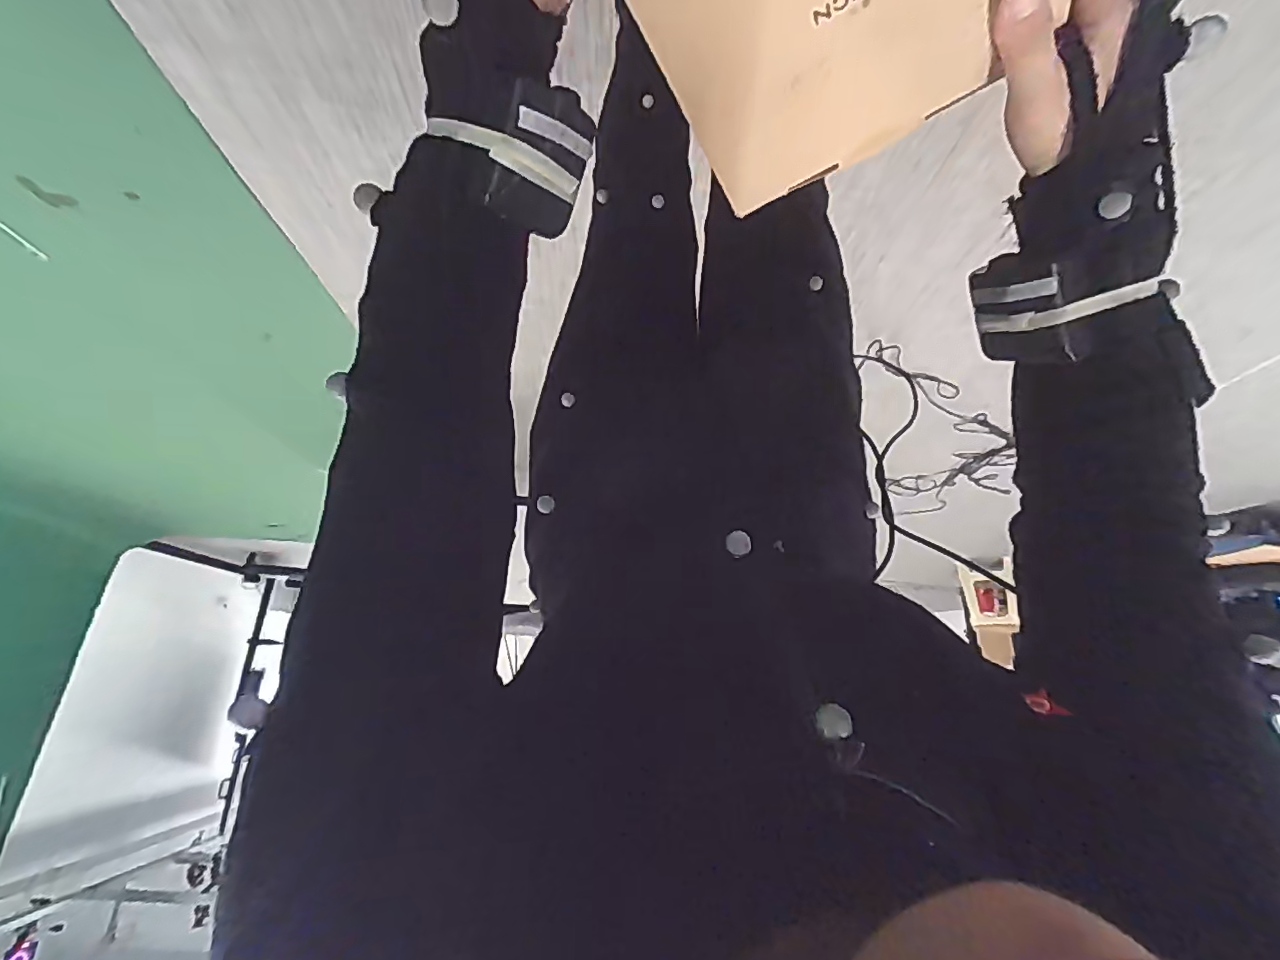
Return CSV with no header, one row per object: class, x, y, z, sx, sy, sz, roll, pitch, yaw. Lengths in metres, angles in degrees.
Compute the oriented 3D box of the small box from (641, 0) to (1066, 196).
small box,0.078,-0.289,0.251,0.168,0.176,0.179,-19,153,26
